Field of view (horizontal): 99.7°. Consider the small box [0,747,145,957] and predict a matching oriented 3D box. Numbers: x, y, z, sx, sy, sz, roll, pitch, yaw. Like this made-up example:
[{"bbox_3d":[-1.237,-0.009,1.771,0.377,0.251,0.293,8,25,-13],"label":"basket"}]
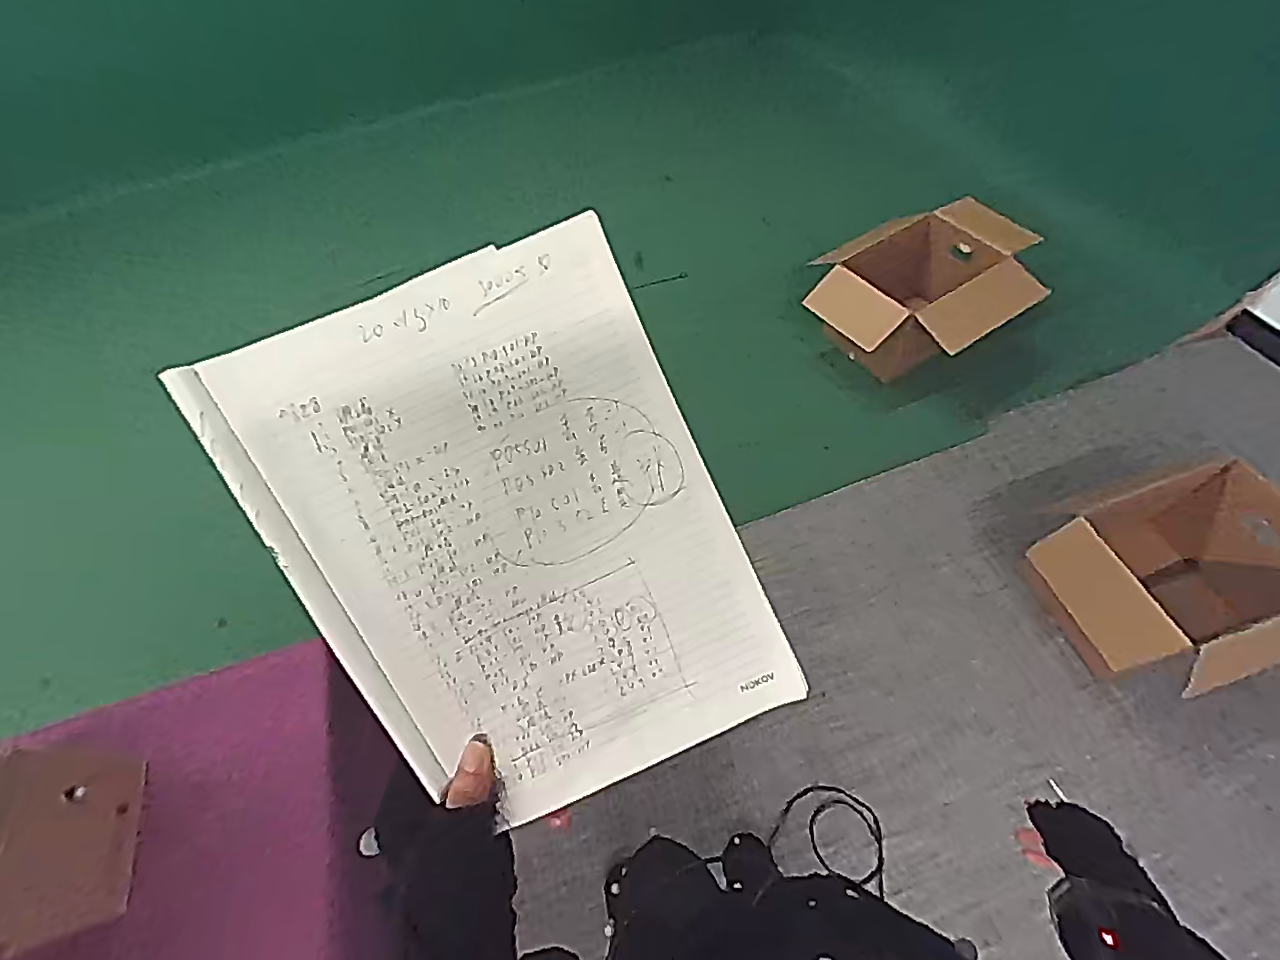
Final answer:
[{"bbox_3d":[-0.685,0.400,0.569,0.179,0.176,0.168,-18,58,-5],"label":"small box"}]
